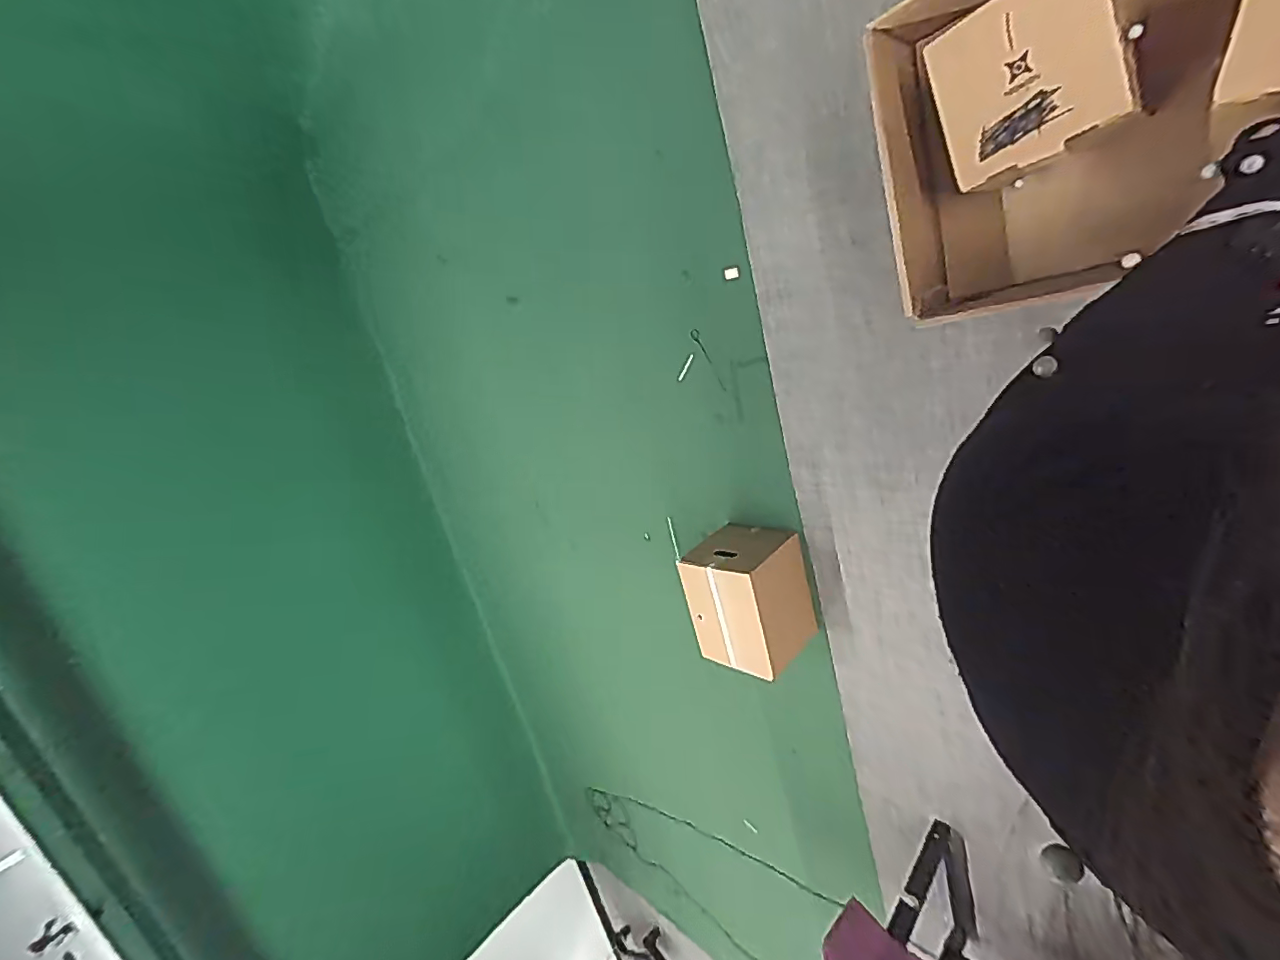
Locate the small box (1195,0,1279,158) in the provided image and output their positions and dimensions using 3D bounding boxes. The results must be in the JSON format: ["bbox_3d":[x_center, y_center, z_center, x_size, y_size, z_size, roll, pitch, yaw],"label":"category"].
[{"bbox_3d":[0.632,-0.403,0.473,0.168,0.176,0.179,20,110,42],"label":"small box"}]
